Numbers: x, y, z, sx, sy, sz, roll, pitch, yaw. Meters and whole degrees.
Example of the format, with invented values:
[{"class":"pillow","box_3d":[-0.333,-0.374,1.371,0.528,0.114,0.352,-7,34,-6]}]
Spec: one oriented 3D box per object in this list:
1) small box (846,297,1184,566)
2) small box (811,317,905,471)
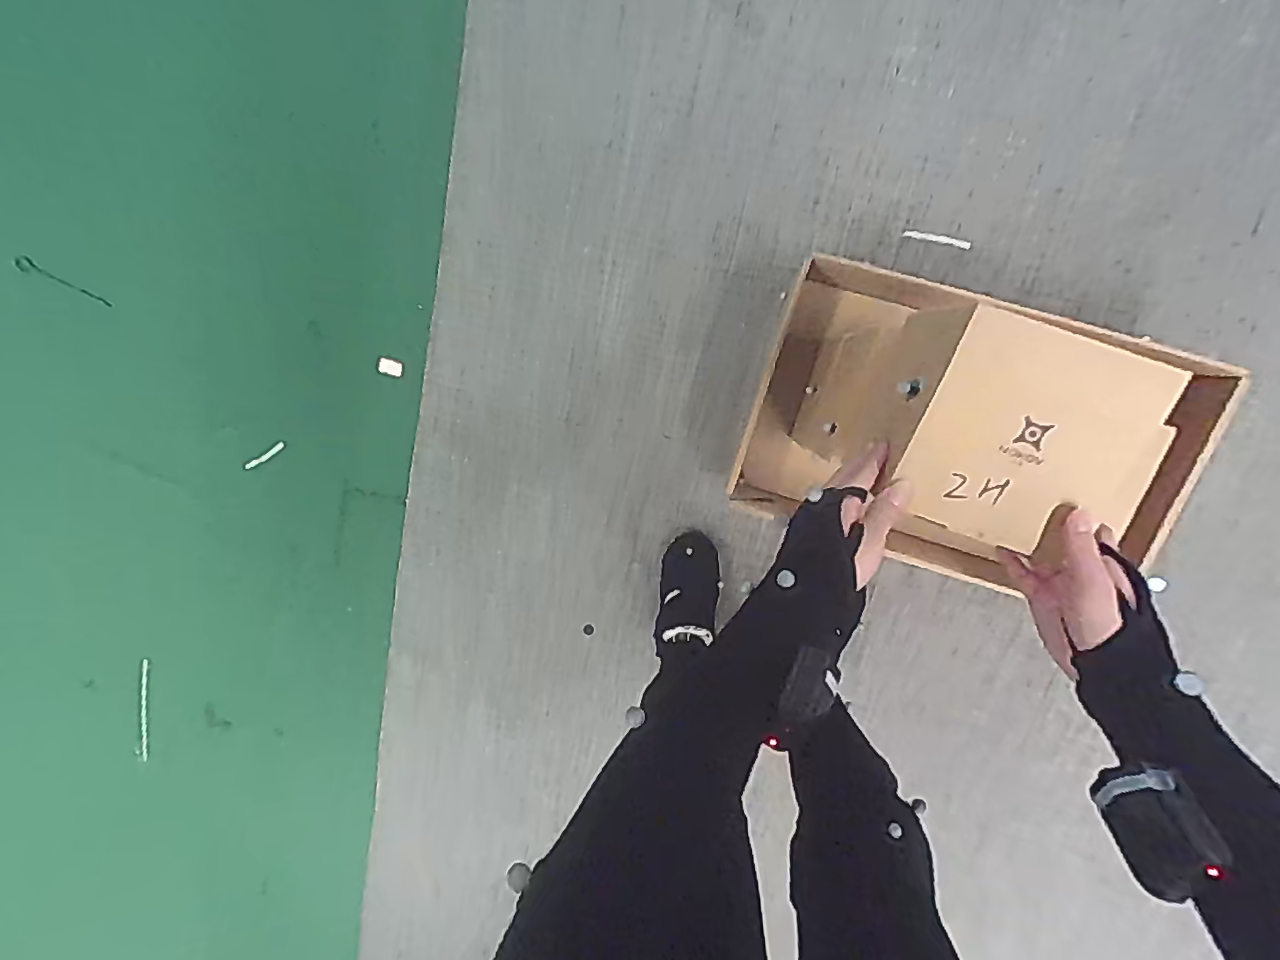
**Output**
[{"class":"small box","box_3d":[0.314,-0.053,0.505,0.168,0.176,0.179,20,107,4]},{"class":"small box","box_3d":[0.333,-0.092,0.690,0.168,0.176,0.179,18,103,5]}]
